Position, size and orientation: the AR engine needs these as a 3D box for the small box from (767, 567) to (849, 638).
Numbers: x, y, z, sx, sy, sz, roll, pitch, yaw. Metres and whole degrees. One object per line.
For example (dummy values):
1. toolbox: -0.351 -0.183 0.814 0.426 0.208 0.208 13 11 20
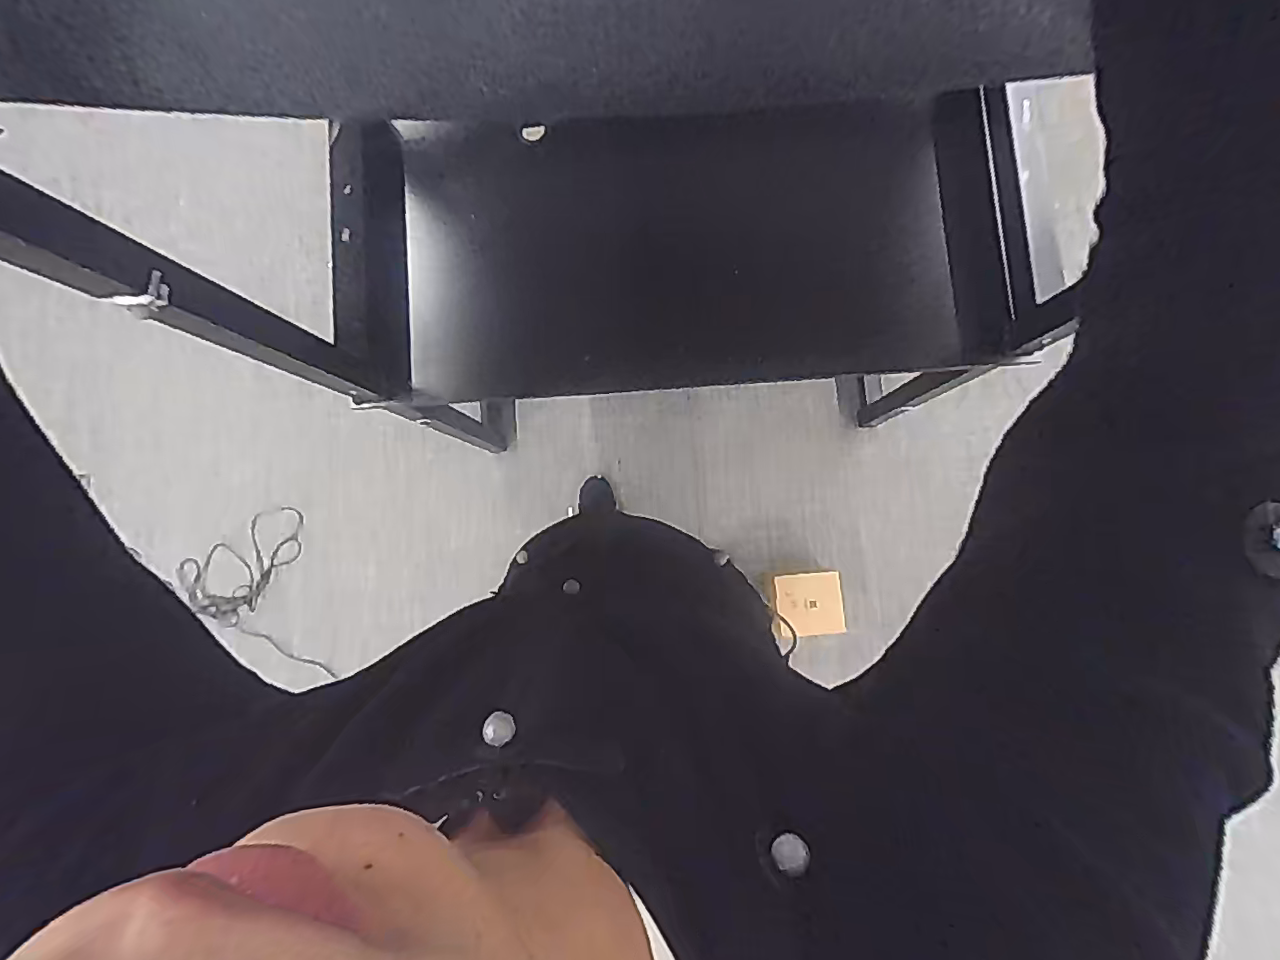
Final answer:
1. small box: 0.467 0.340 1.523 0.179 0.176 0.168 -6 85 3
